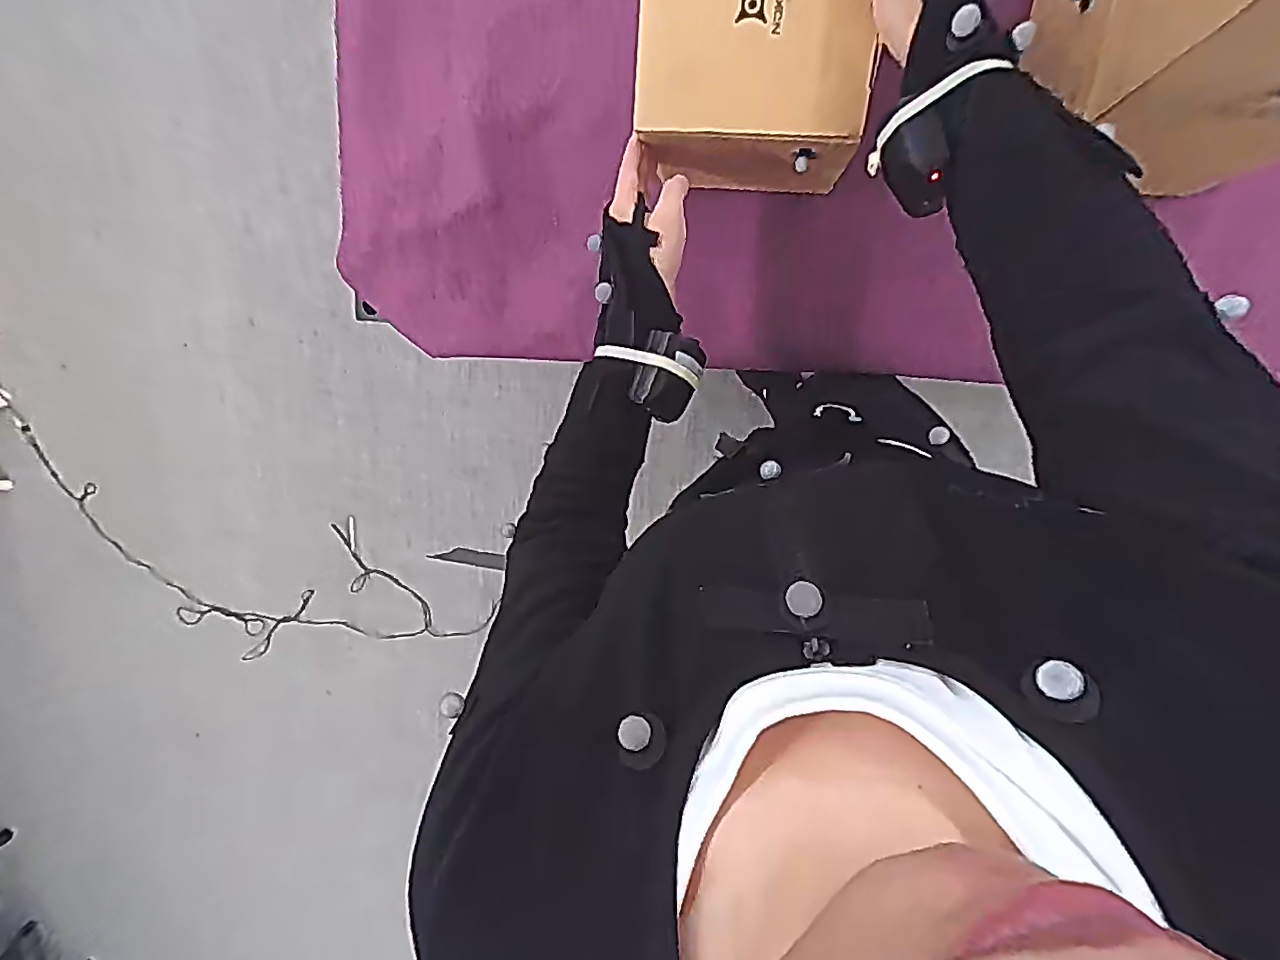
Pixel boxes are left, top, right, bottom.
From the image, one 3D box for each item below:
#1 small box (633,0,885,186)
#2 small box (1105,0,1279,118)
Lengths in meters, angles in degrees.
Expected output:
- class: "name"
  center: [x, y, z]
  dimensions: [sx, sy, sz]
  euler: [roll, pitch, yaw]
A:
- class: "small box"
  center: [0.099, -0.365, 0.463]
  dimensions: [0.179, 0.176, 0.168]
  euler: [6, 106, 7]
- class: "small box"
  center: [0.375, -0.303, 0.255]
  dimensions: [0.168, 0.176, 0.179]
  euler: [9, 105, 12]
